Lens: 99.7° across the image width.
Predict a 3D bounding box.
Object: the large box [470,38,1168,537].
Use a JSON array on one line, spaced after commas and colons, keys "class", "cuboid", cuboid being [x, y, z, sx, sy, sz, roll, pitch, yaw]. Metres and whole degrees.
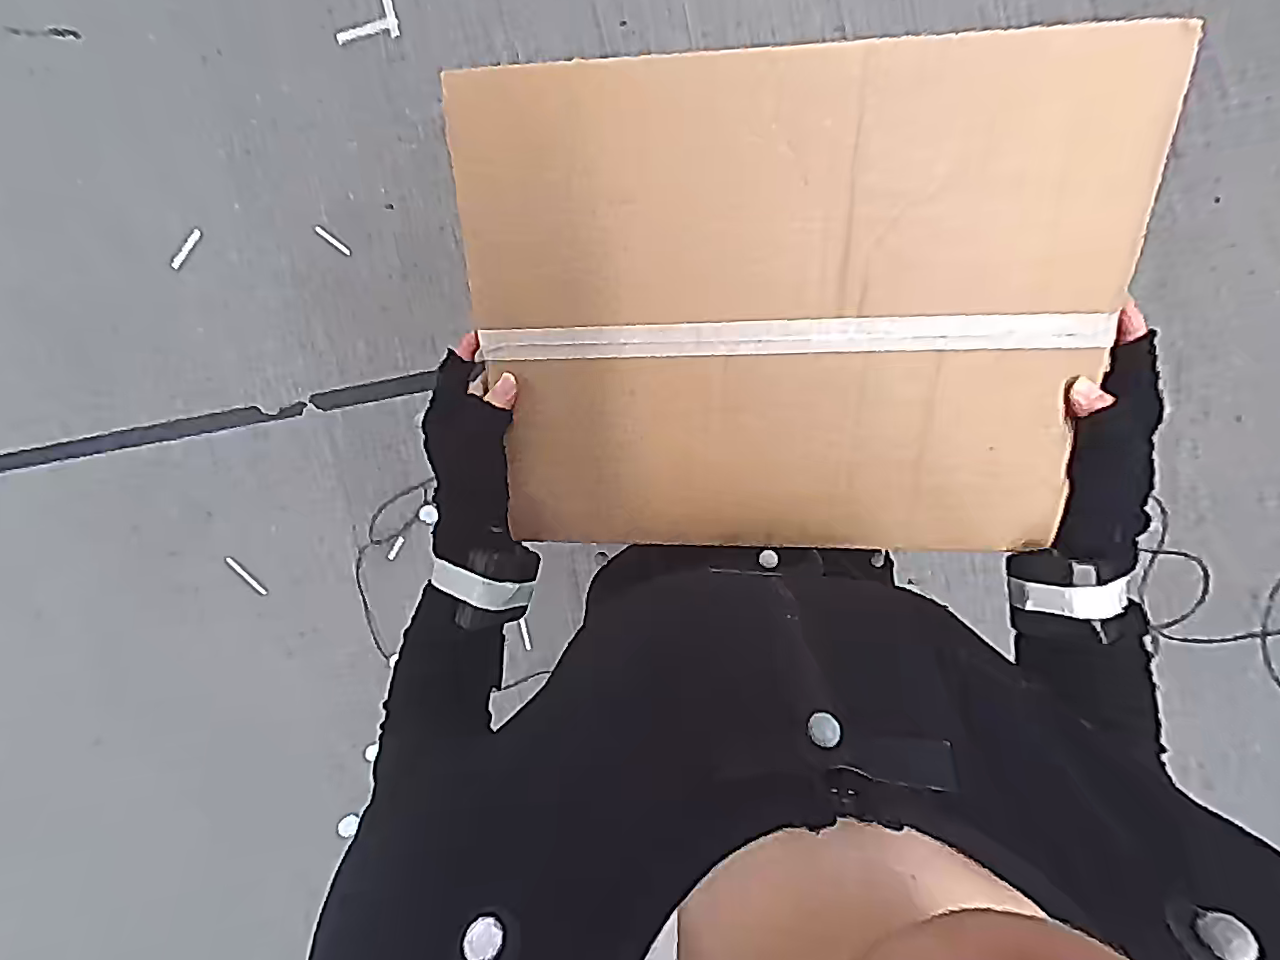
[{"class": "large box", "cuboid": [0.109, -0.155, 0.506, 0.408, 0.320, 0.320, 1, 114, 6]}]
